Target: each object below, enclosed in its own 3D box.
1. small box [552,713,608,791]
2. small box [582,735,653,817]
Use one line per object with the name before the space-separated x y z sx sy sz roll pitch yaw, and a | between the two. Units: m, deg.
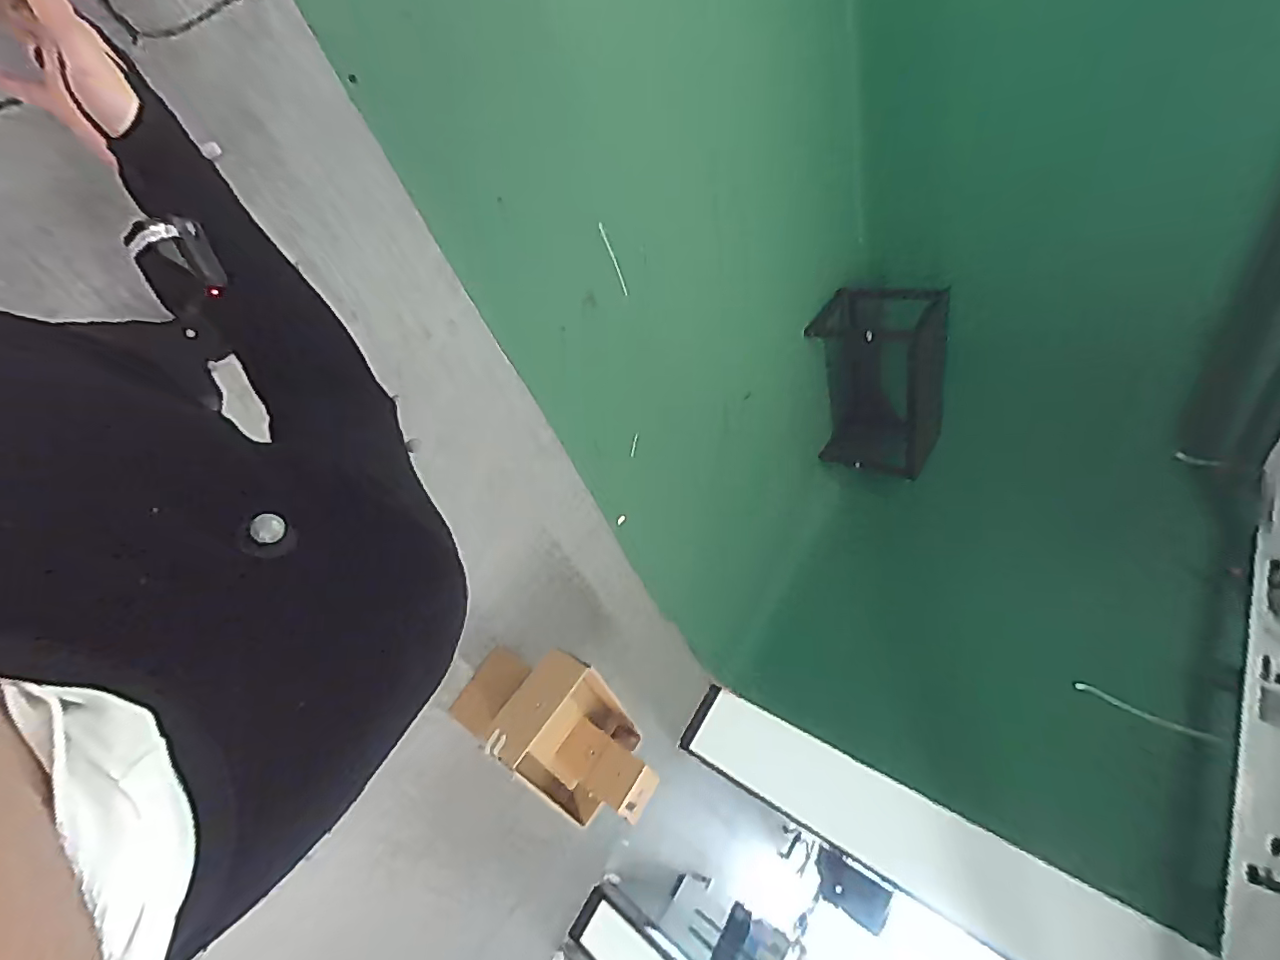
small box | -0.211 1.025 2.046 0.179 0.176 0.168 -50 137 -27
small box | -0.087 1.060 1.945 0.179 0.176 0.168 -52 138 -27
